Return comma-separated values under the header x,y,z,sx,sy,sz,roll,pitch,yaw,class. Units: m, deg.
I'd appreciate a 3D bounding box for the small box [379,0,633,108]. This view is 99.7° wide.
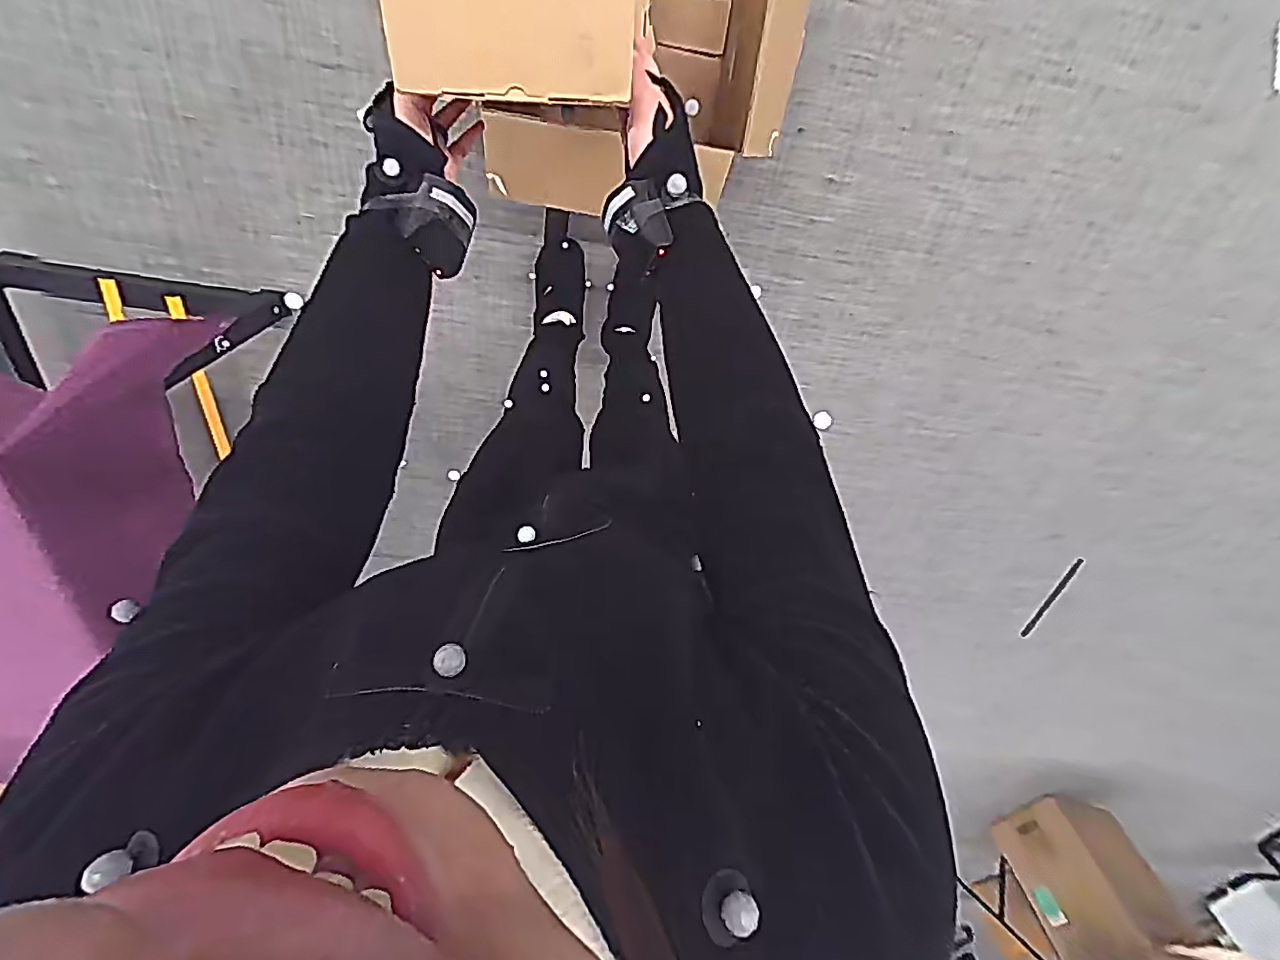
x,y,z,sx,sy,sz,roll,pitch,yaw,class
-0.090,-0.386,0.393,0.168,0.176,0.179,-1,127,-7,small box
